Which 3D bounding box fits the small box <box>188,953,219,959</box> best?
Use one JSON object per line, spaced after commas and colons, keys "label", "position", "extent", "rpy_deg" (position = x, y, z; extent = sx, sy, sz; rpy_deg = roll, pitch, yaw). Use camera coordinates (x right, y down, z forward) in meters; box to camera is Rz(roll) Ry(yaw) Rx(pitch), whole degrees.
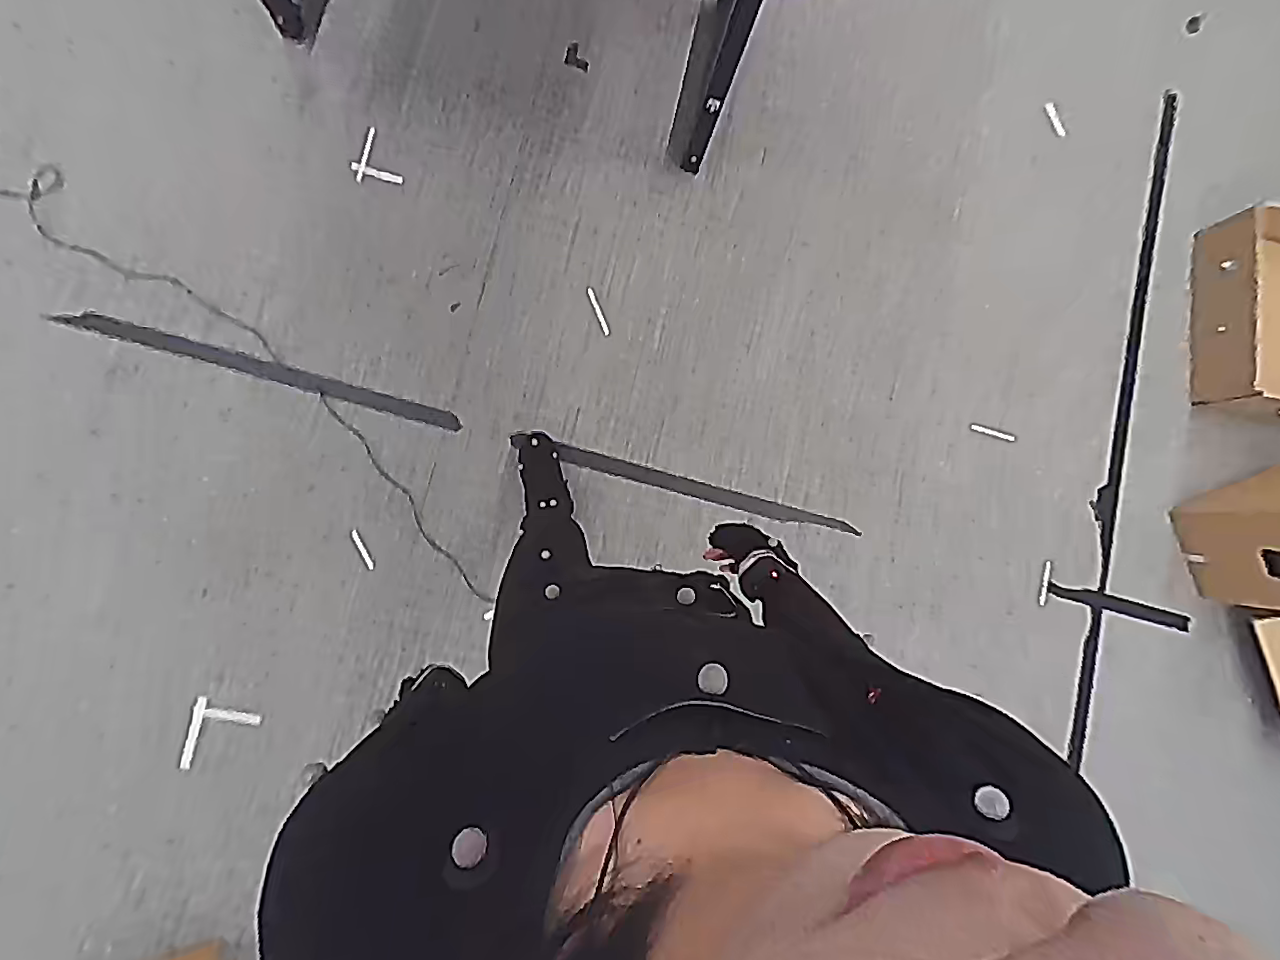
{"label": "small box", "position": [-1.068, 1.214, 1.202], "extent": [0.179, 0.176, 0.168], "rpy_deg": [-11, 87, -7]}
